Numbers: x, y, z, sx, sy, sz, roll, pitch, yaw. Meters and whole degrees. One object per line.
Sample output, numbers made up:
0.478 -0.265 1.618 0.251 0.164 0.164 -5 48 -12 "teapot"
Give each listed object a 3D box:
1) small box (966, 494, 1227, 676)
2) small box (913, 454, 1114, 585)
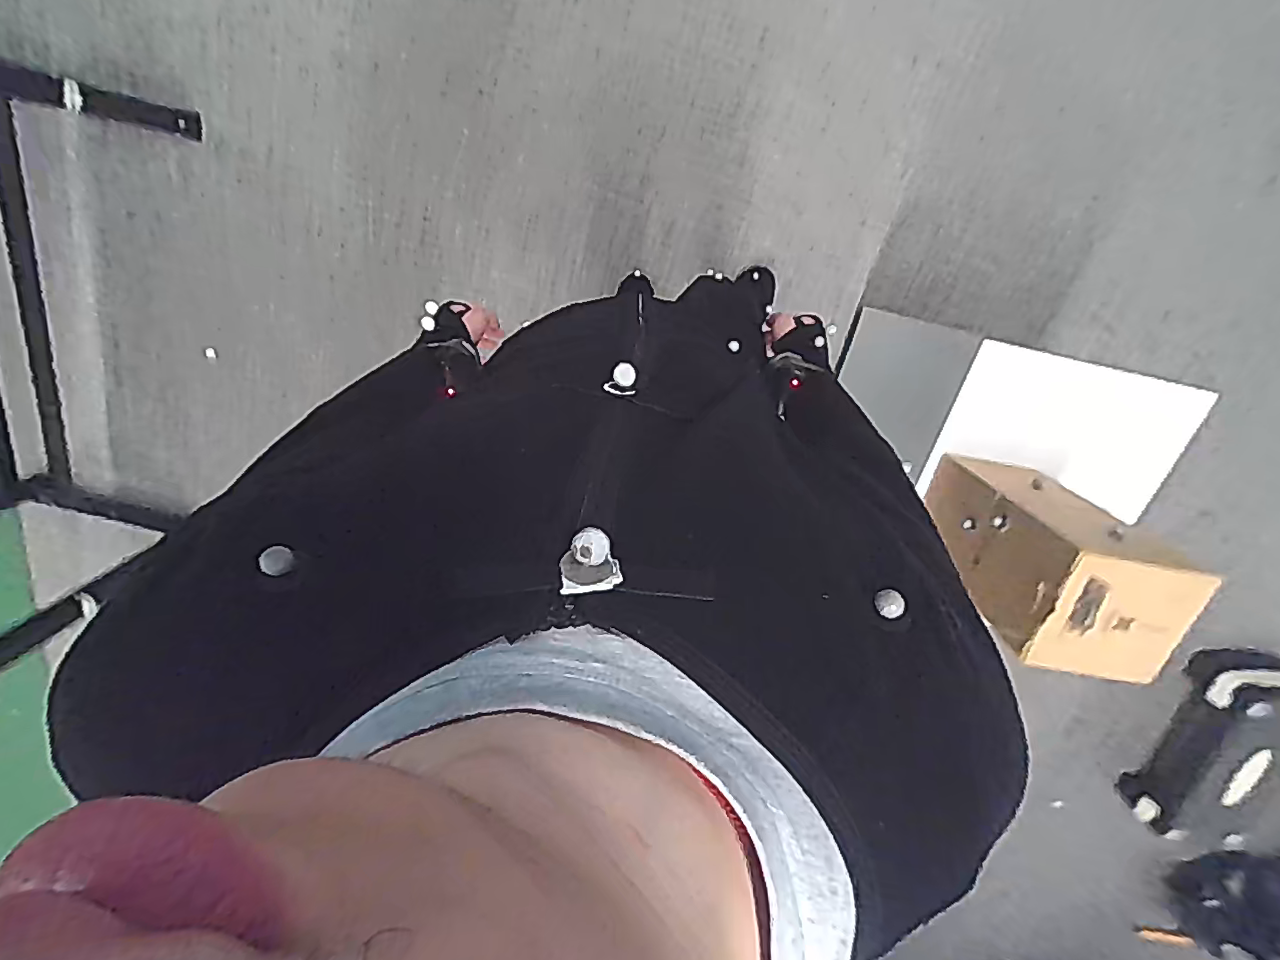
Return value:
0.585 0.131 0.726 0.179 0.176 0.168 9 113 -4 "small box"
0.588 0.068 0.879 0.179 0.176 0.168 8 112 -3 "small box"
